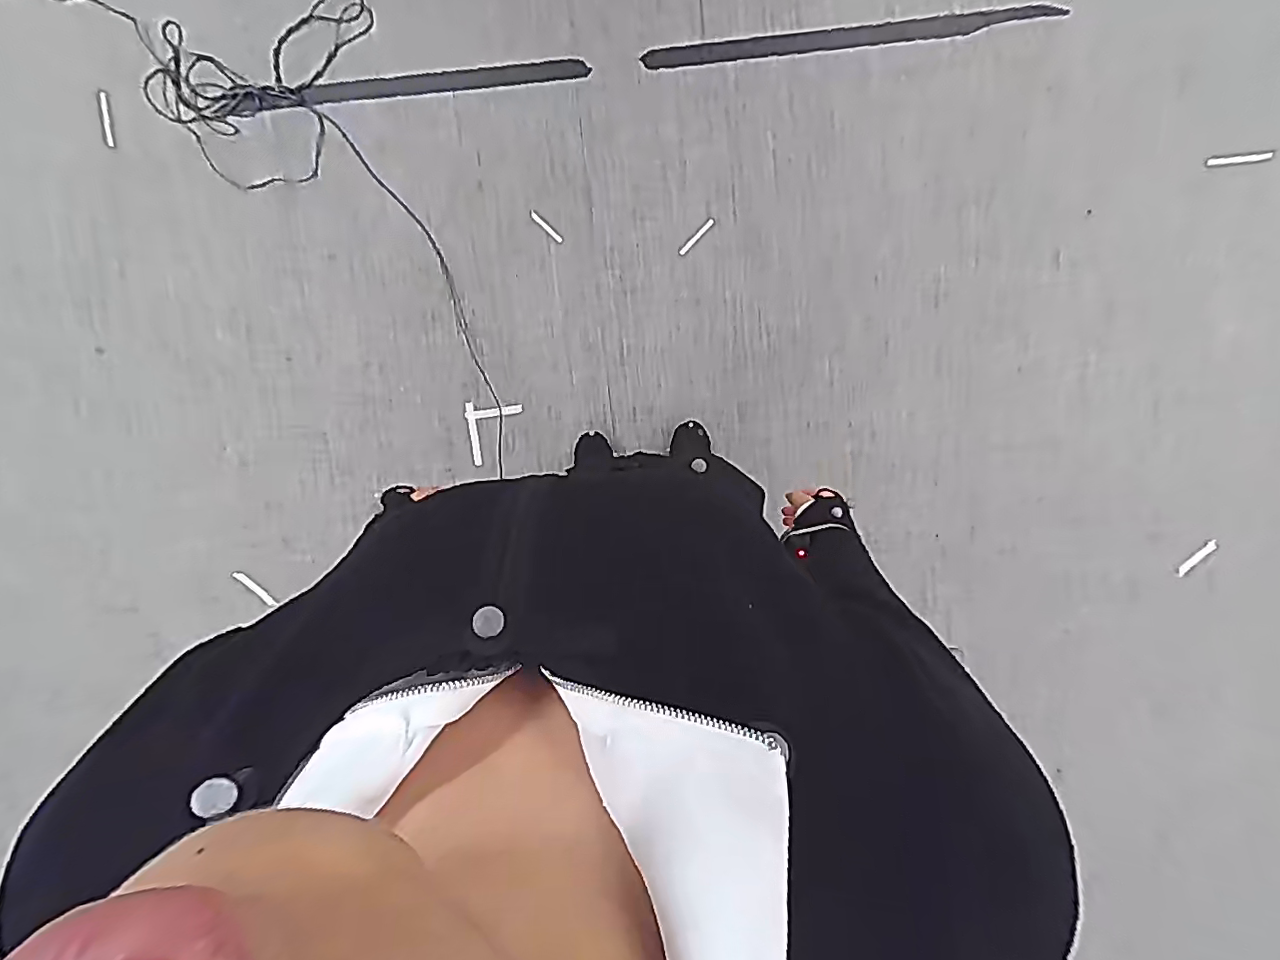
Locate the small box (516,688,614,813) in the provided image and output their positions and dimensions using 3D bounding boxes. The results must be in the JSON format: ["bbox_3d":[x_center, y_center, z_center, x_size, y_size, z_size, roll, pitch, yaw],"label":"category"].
[{"bbox_3d":[-0.144,0.545,1.109,0.179,0.176,0.168,-4,96,1],"label":"small box"}]

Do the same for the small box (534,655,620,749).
[{"bbox_3d":[-0.138,0.512,1.269,0.179,0.176,0.168,-4,96,2],"label":"small box"}]
